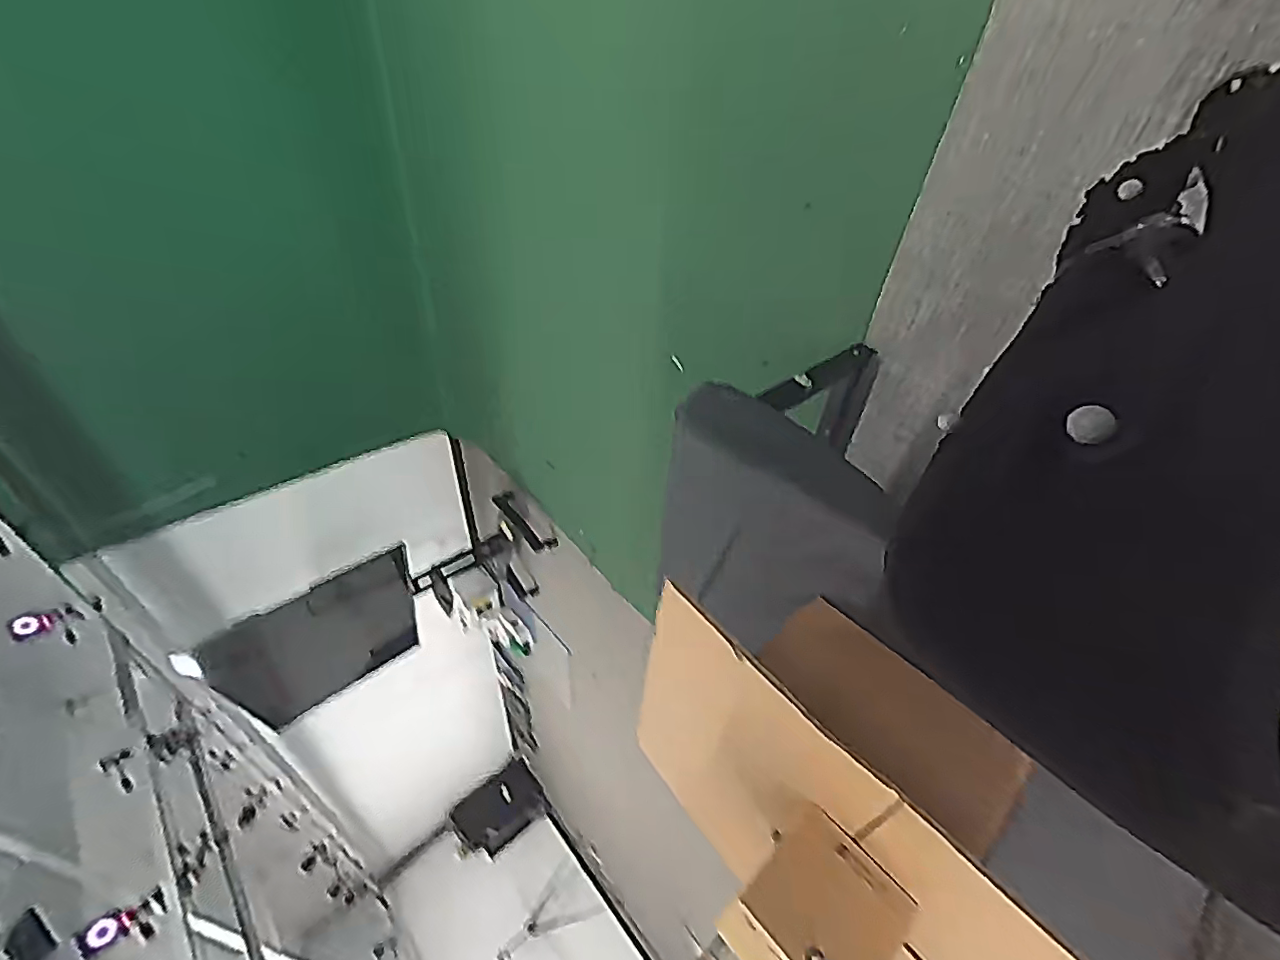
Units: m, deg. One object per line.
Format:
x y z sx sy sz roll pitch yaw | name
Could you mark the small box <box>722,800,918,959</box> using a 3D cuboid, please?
0.237 0.579 0.725 0.168 0.176 0.179 38 141 32 | small box
